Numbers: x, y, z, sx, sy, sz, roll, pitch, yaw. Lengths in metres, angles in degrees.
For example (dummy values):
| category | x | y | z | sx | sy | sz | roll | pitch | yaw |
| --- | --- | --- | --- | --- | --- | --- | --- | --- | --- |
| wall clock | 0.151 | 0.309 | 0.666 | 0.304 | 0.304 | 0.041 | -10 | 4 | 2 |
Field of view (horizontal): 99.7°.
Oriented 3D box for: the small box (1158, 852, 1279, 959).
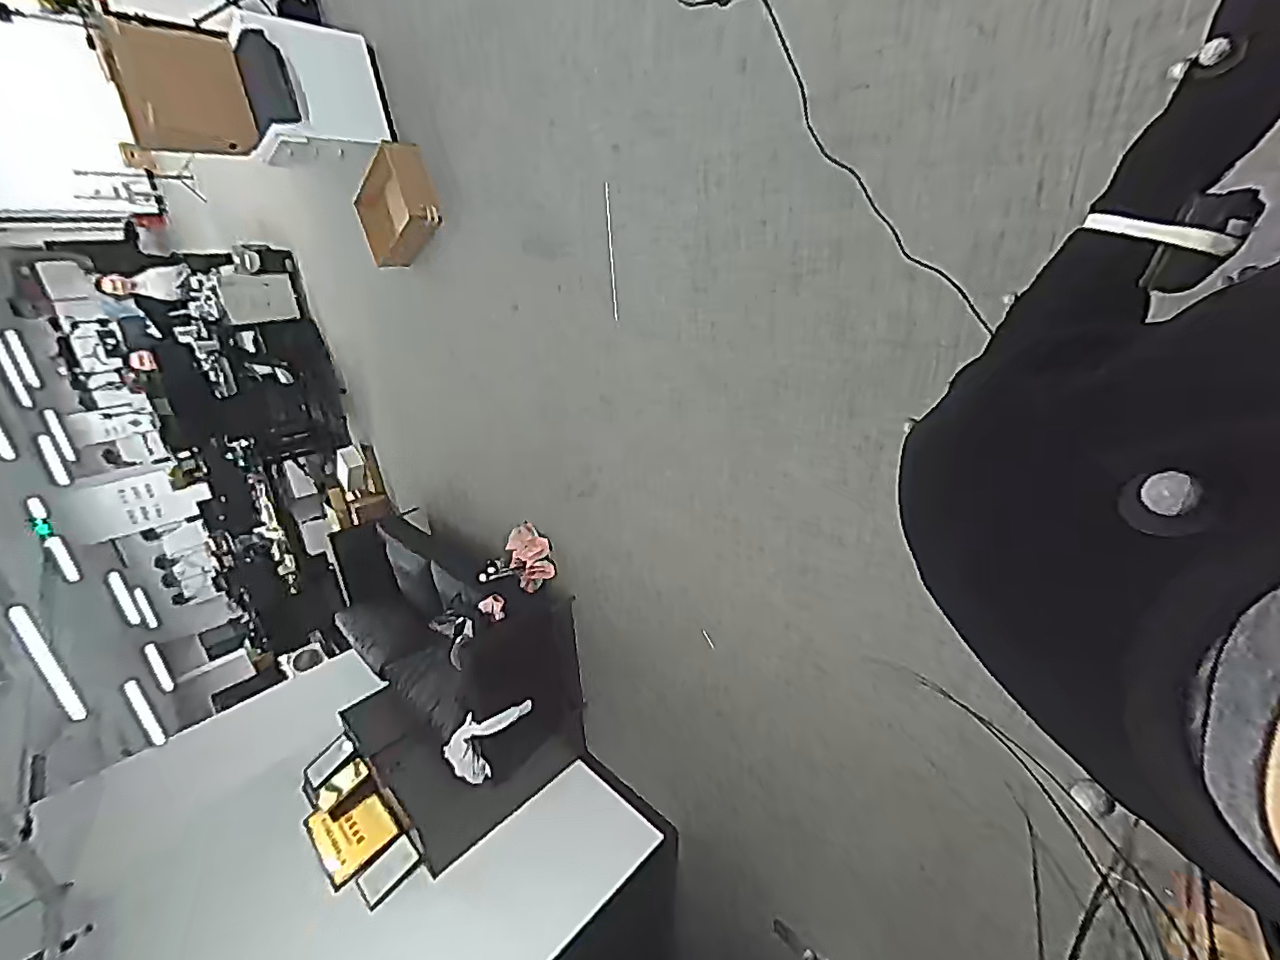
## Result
| category | x | y | z | sx | sy | sz | roll | pitch | yaw |
| --- | --- | --- | --- | --- | --- | --- | --- | --- | --- |
| small box | 1.348 | 1.015 | 1.254 | 0.179 | 0.176 | 0.168 | 17 | 120 | 41 |
